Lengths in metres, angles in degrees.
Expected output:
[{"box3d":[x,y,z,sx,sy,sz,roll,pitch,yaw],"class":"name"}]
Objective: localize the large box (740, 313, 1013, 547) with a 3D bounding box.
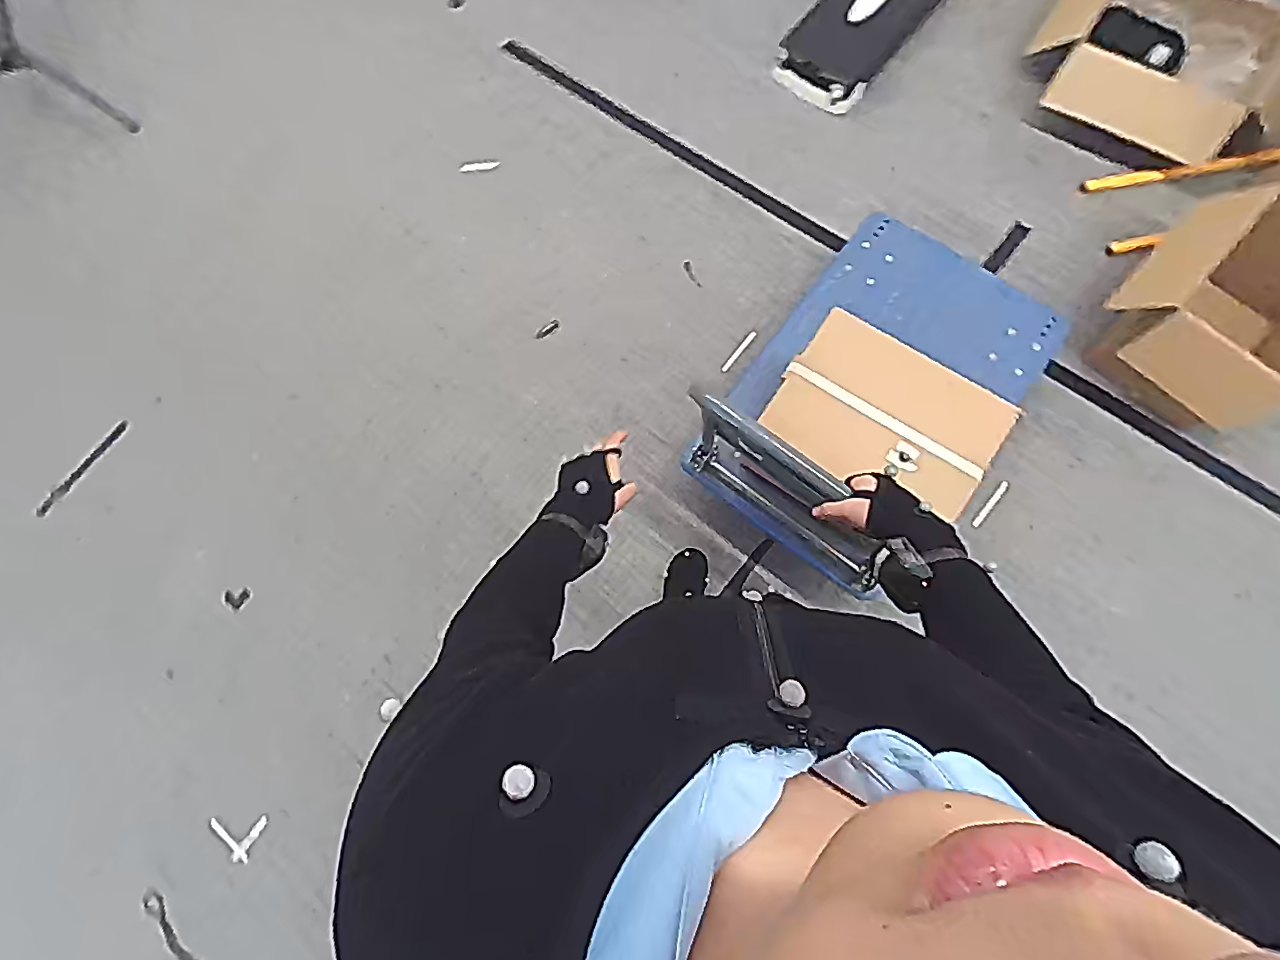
[{"box3d":[0.484,-0.091,1.204,0.408,0.320,0.320,34,85,9],"class":"large box"}]
